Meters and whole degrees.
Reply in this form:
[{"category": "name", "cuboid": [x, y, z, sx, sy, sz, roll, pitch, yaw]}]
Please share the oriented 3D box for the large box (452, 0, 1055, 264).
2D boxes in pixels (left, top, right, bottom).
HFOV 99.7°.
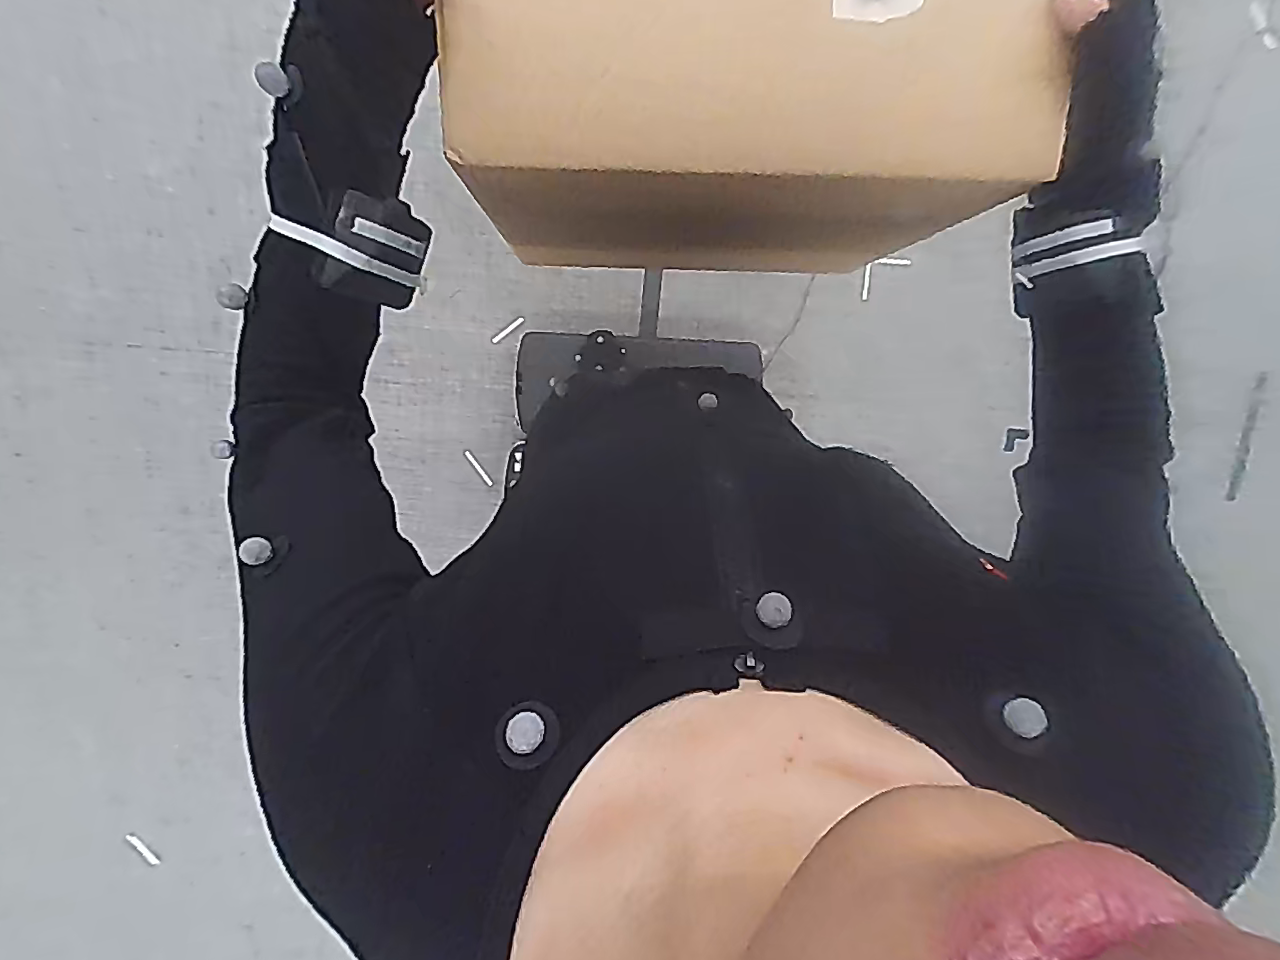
[{"category": "large box", "cuboid": [0.066, -0.391, 0.486, 0.408, 0.320, 0.320, -1, 101, -4]}]
